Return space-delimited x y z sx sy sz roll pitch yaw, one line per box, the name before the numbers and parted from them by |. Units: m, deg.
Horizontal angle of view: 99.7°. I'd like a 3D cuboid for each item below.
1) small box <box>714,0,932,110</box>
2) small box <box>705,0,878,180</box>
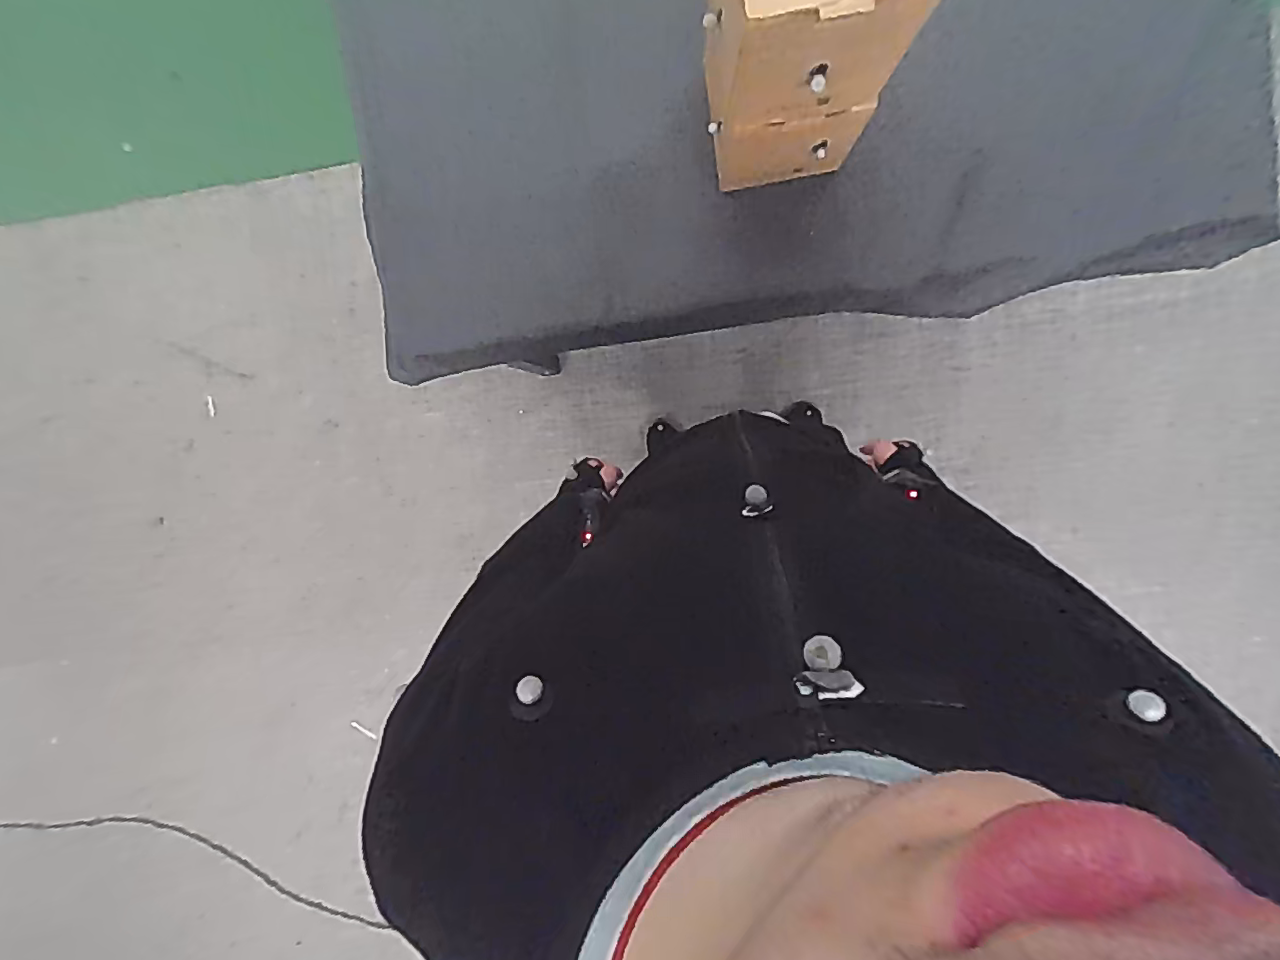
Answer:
small box | 0.161 -0.482 0.508 0.168 0.176 0.179 -7 98 3
small box | 0.175 -0.499 0.671 0.168 0.176 0.179 -9 96 4
